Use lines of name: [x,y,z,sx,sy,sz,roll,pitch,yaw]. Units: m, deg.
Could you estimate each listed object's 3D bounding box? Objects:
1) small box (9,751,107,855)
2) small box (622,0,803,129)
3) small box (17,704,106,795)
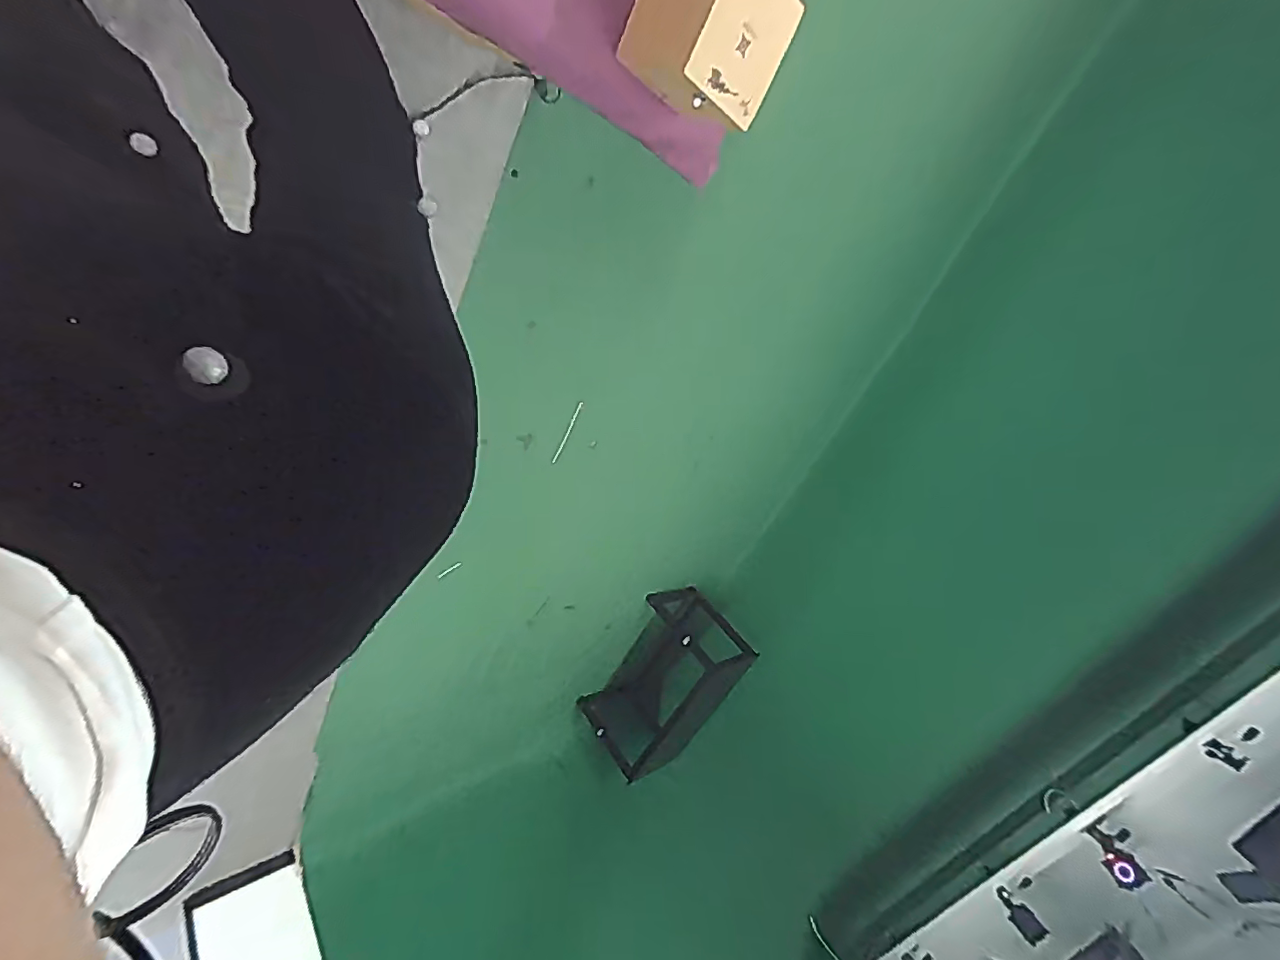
small box: [-1.668,0.920,1.557,0.168,0.176,0.179,14,115,-50]
small box: [0.101,-0.670,0.807,0.168,0.176,0.179,3,122,-47]
small box: [-1.758,0.821,1.650,0.168,0.176,0.179,9,118,-48]
